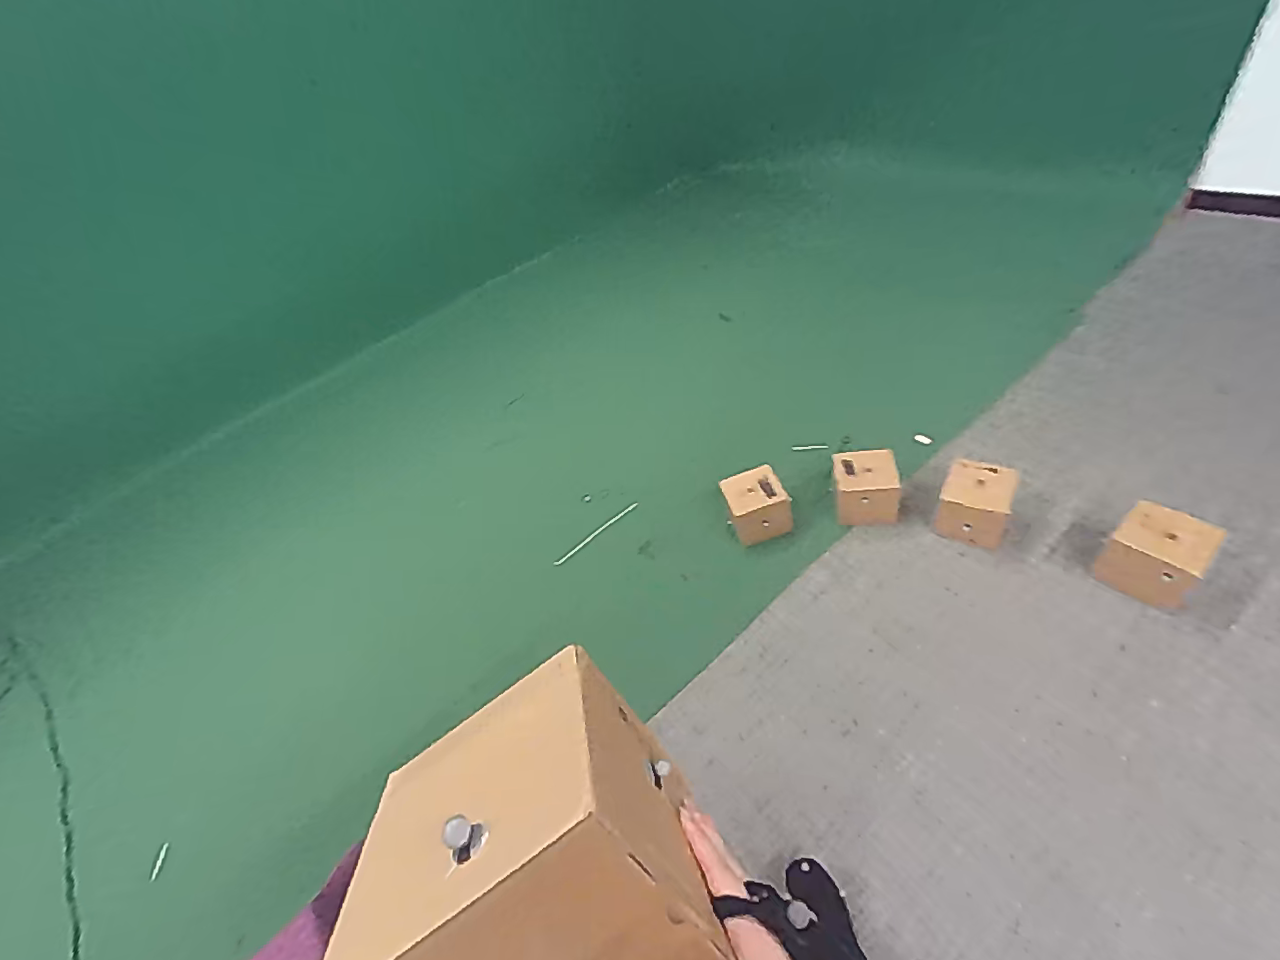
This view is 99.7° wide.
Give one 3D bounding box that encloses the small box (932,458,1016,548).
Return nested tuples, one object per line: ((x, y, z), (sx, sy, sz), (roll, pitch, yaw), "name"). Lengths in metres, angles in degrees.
((0.965, 0.069, 1.573), (0.168, 0.176, 0.179), (18, 56, 33), "small box")

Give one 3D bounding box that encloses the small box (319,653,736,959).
((-0.062, 0.256, 0.359), (0.179, 0.168, 0.176), (-34, 15, -2), "small box")

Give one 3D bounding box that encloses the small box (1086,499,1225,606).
((1.271, 0.187, 1.346), (0.168, 0.176, 0.179), (-38, 47, -18), "small box")

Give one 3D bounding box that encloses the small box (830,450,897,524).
((0.703, 0.026, 1.711), (0.179, 0.176, 0.168), (-4, 46, 15), "small box")
